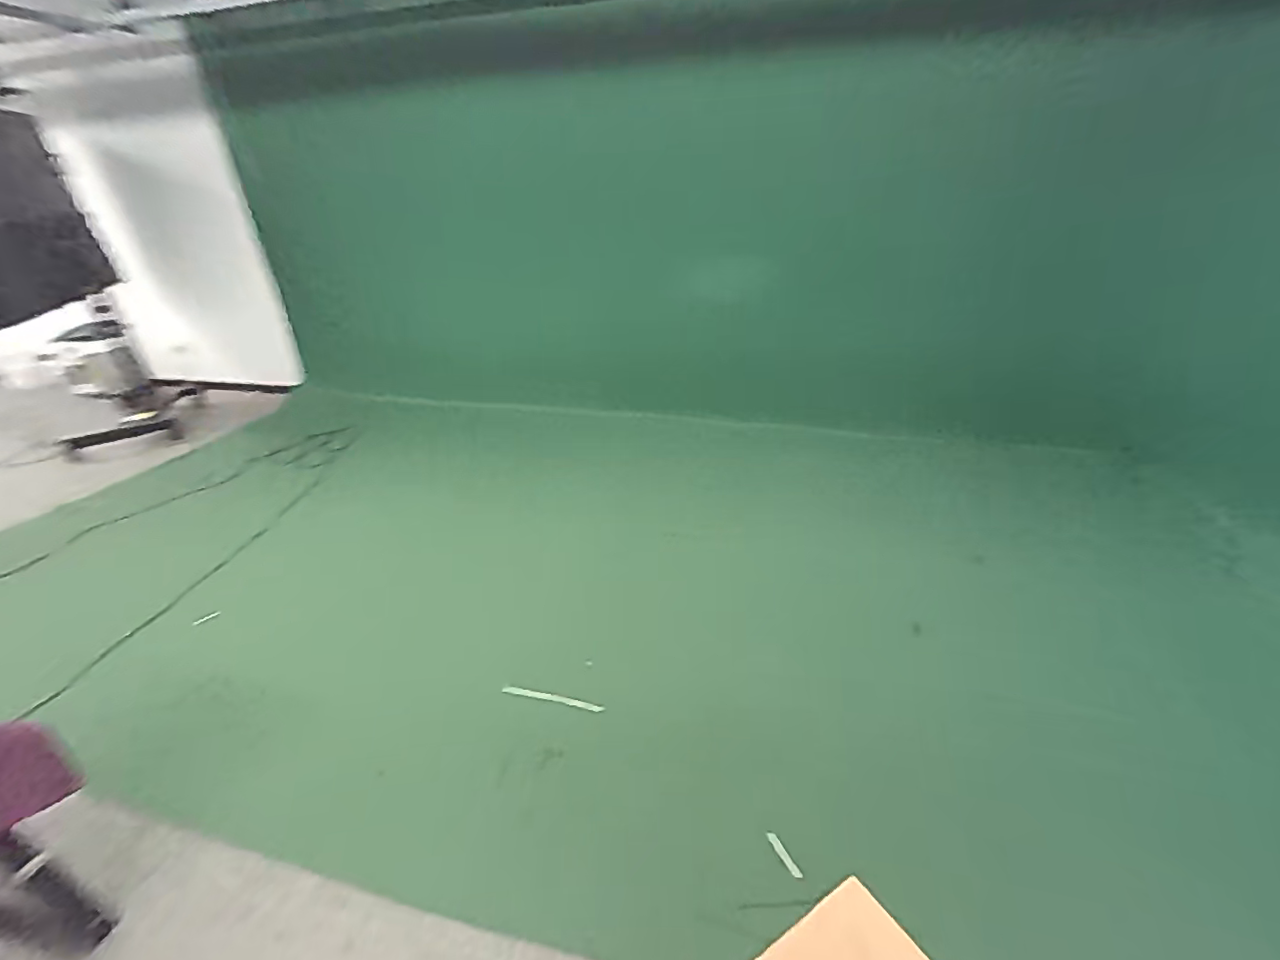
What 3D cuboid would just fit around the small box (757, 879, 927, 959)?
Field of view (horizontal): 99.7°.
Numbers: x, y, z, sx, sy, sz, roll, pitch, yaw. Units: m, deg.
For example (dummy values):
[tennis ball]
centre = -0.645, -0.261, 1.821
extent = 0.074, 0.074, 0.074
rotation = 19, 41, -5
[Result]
[small box]
centre = 0.132, 0.425, 0.349
extent = 0.179, 0.176, 0.168
rotation = -17, 32, -28
